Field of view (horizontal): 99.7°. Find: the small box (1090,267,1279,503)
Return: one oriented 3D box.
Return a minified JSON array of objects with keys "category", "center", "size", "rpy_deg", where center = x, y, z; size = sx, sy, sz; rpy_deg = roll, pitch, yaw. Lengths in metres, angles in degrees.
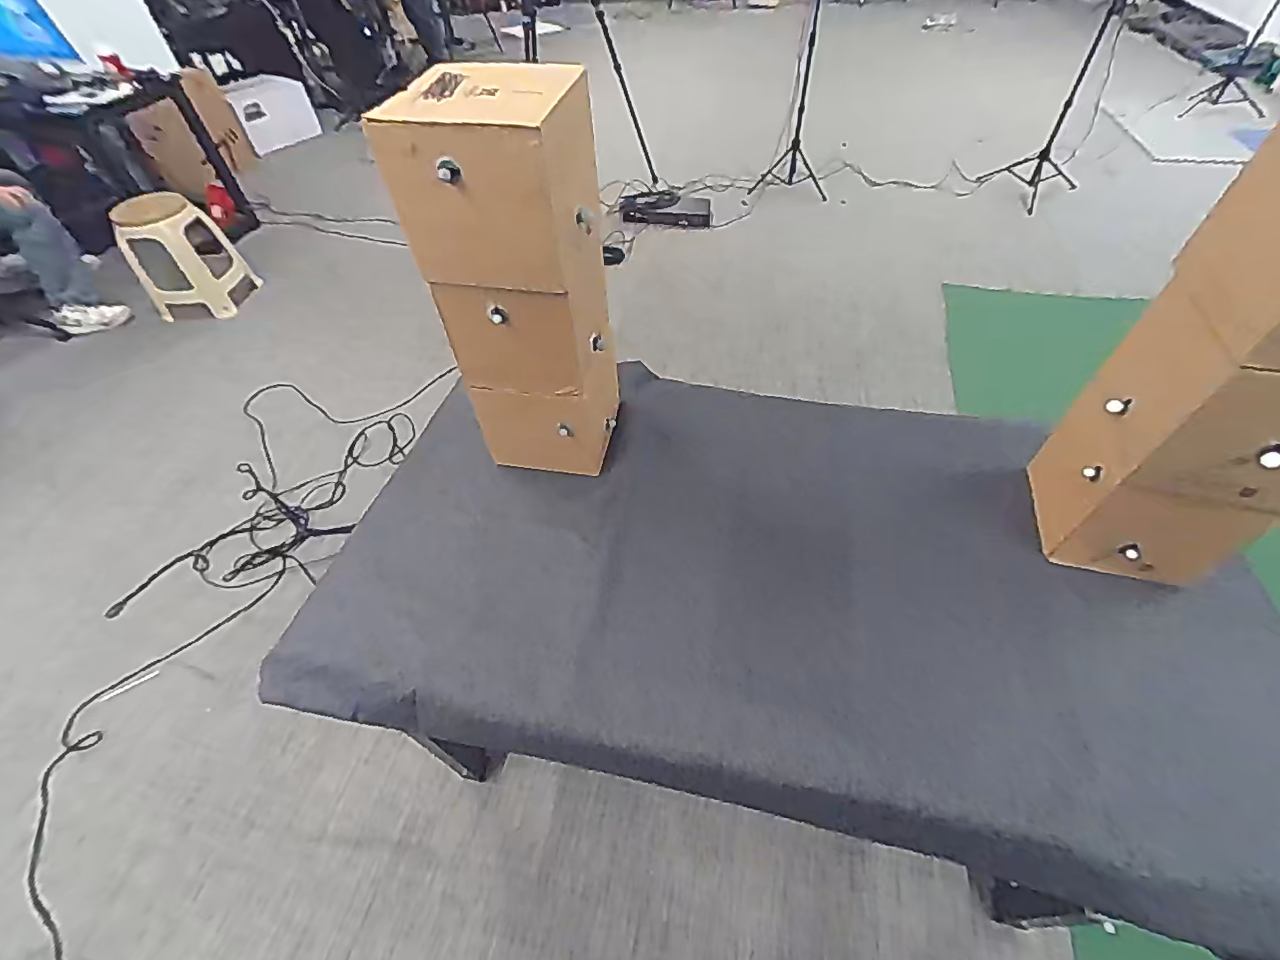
[{"category":"small box","center":[0.626,-0.099,0.568],"size":[0.168,0.176,0.179],"rpy_deg":[11,54,12]}]

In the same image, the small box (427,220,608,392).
[{"category":"small box","center":[-0.148,-0.237,0.727],"size":[0.179,0.176,0.168],"rpy_deg":[7,53,7]}]

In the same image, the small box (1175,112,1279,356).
[{"category":"small box","center":[0.611,-0.204,0.442],"size":[0.168,0.176,0.179],"rpy_deg":[10,52,11]}]

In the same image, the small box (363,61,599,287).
[{"category":"small box","center":[-0.153,-0.332,0.593],"size":[0.179,0.176,0.168],"rpy_deg":[8,53,8]}]

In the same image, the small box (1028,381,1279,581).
[{"category":"small box","center":[0.638,0.001,0.698],"size":[0.168,0.176,0.179],"rpy_deg":[11,53,12]}]
